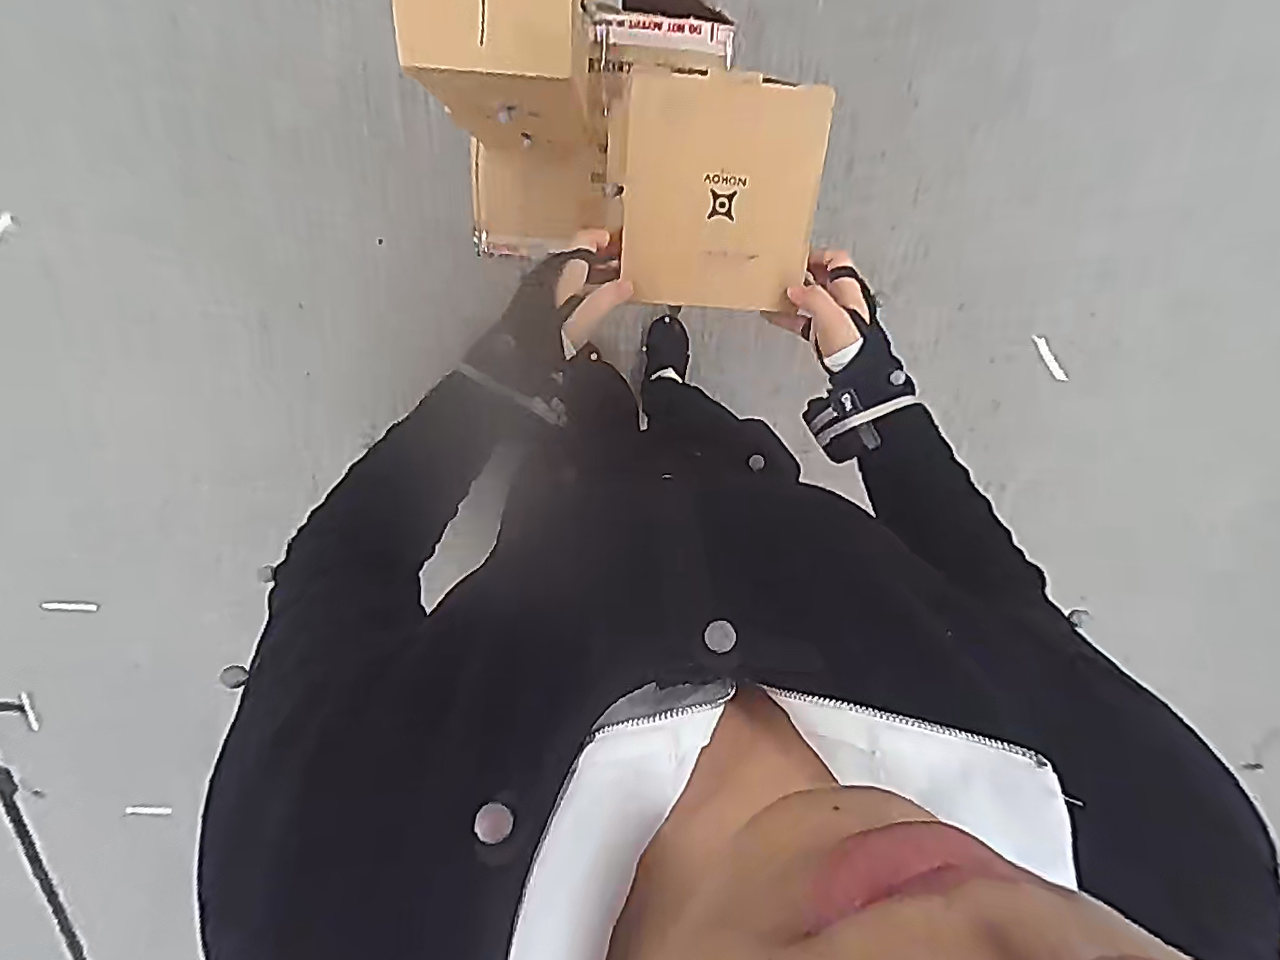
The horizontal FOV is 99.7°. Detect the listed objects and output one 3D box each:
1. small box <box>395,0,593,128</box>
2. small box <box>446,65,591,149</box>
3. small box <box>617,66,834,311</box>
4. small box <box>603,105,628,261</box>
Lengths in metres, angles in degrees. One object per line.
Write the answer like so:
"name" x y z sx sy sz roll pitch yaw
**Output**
"small box" -0.138 -0.488 0.555 0.168 0.176 0.179 4 112 -1
"small box" -0.154 -0.552 0.706 0.168 0.176 0.179 0 112 0
"small box" 0.064 -0.265 0.526 0.168 0.176 0.179 1 113 -4
"small box" 0.037 -0.402 0.767 0.168 0.176 0.179 3 111 -4
